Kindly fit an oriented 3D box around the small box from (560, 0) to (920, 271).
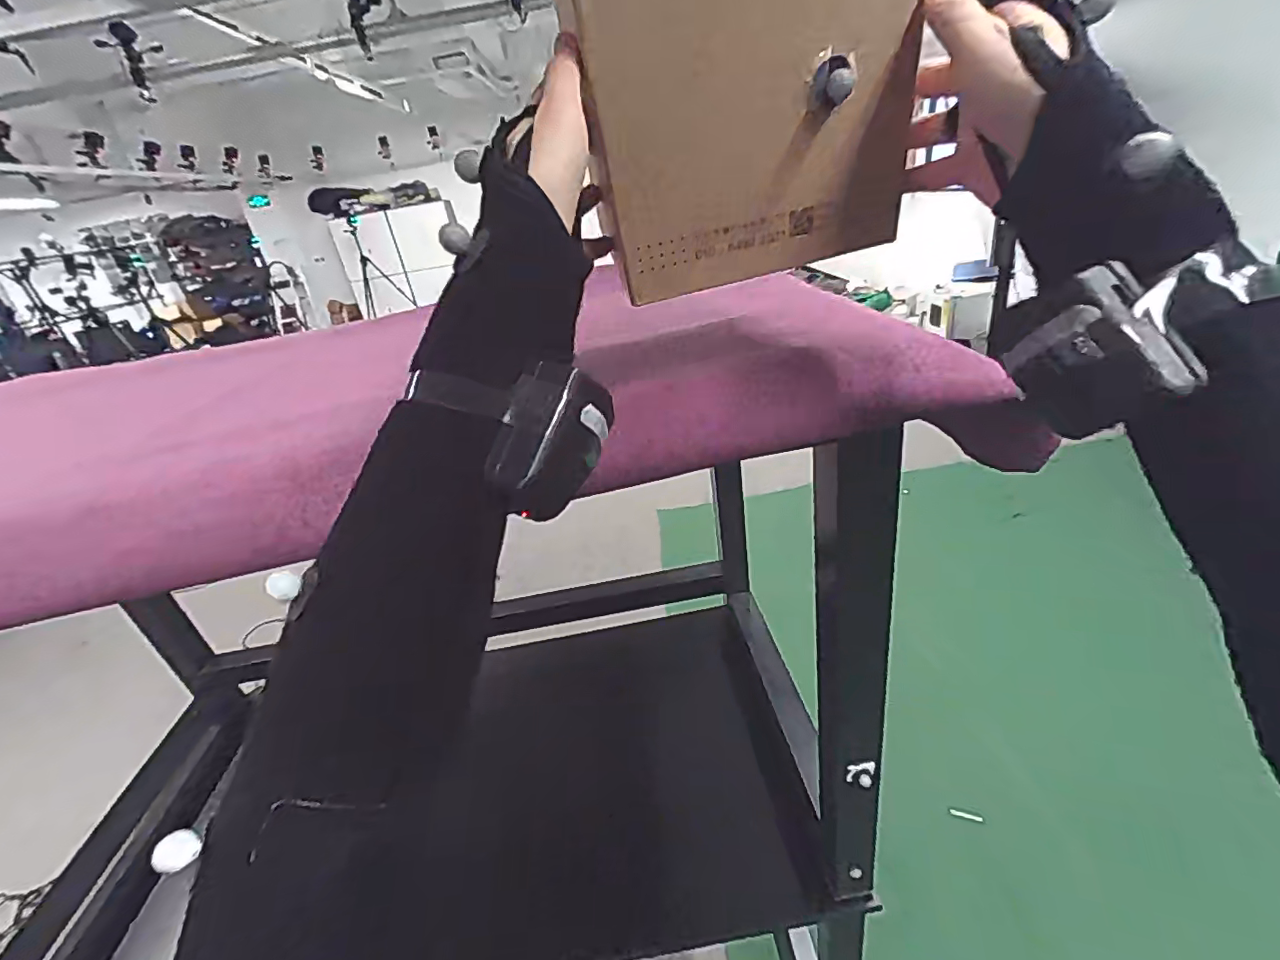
[{"bbox_3d":[0.049,-0.242,0.325,0.168,0.176,0.179,-13,41,-1],"label":"small box"}]
